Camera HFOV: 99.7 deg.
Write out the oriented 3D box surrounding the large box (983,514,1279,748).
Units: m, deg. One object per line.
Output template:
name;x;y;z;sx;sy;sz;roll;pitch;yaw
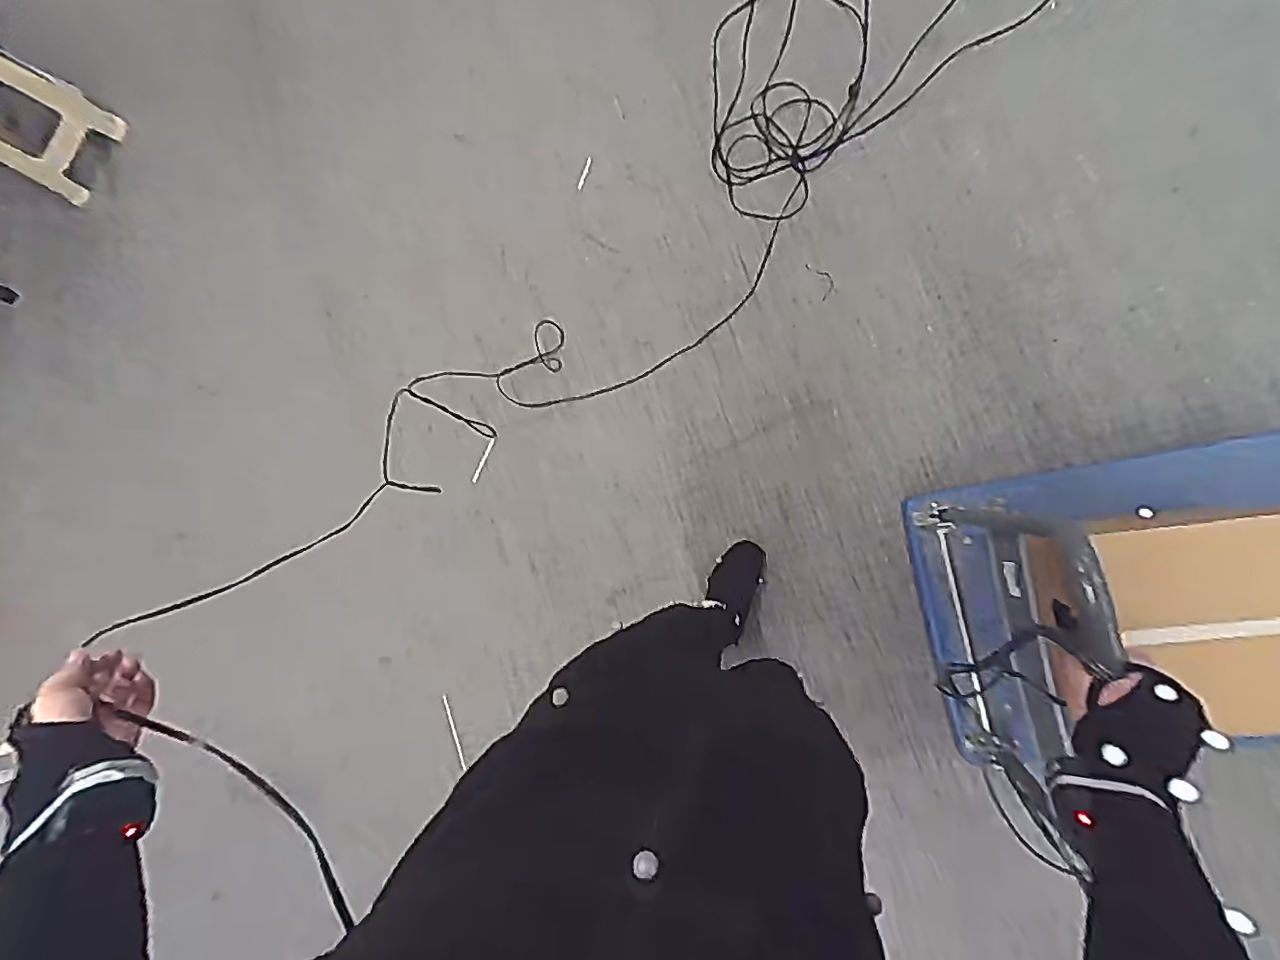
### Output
large box;0.904;0.238;0.944;0.408;0.320;0.320;-9;85;11
